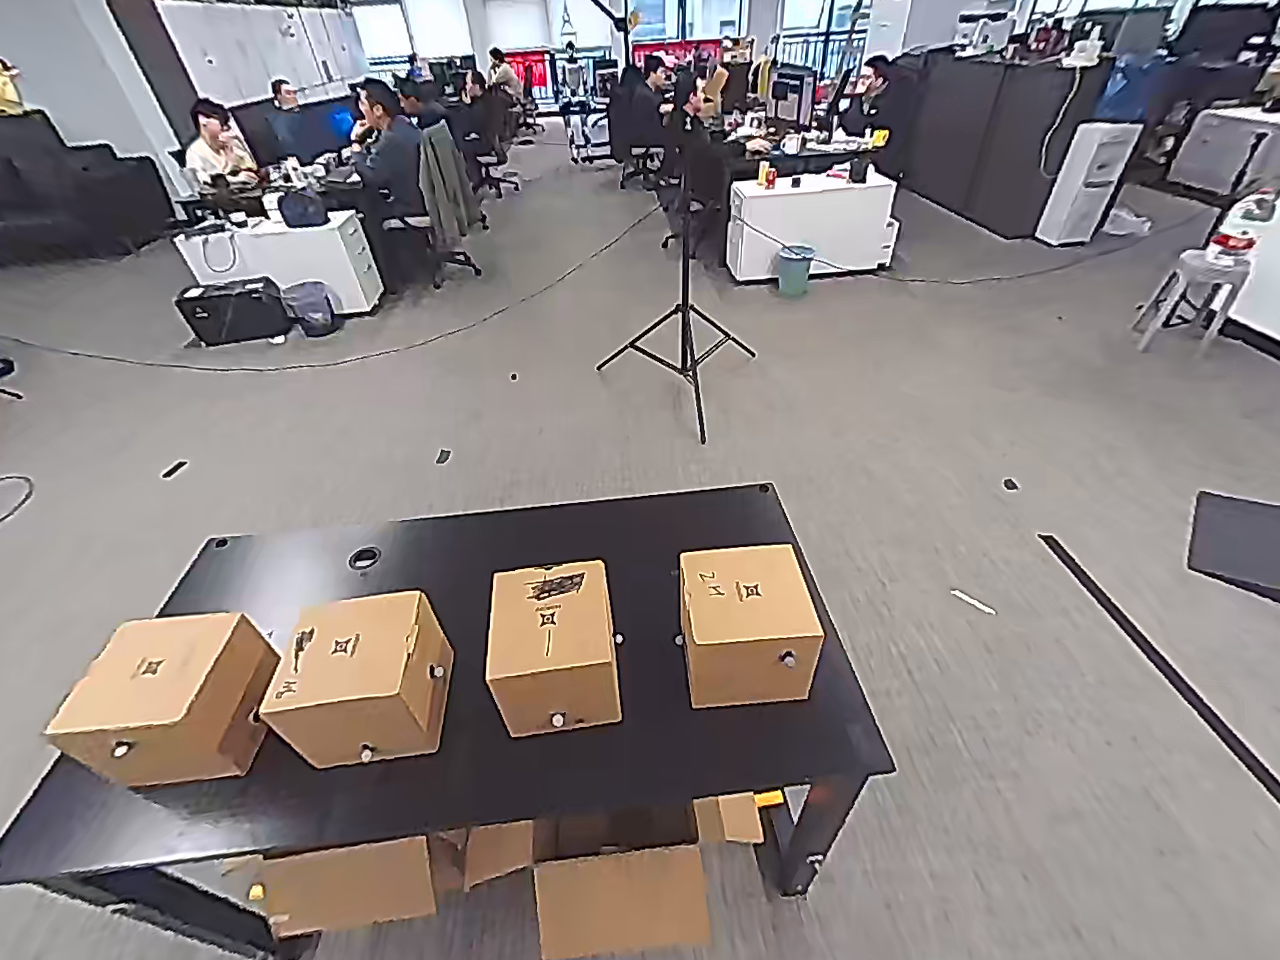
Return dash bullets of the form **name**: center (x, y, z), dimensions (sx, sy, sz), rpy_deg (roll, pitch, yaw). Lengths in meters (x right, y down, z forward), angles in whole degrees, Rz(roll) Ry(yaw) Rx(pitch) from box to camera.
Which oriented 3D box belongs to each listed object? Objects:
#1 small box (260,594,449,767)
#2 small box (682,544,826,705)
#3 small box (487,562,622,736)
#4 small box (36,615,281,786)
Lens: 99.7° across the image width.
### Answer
- **small box**: center (-0.388, 0.289, 0.780), dimensions (0.179, 0.176, 0.168), rpy_deg (-6, 40, -5)
- **small box**: center (0.158, 0.218, 0.816), dimensions (0.179, 0.176, 0.168), rpy_deg (-5, 39, 0)
- **small box**: center (-0.120, 0.249, 0.805), dimensions (0.168, 0.176, 0.179), rpy_deg (-7, 41, -4)
- **small box**: center (-0.650, 0.314, 0.768), dimensions (0.179, 0.176, 0.168), rpy_deg (-4, 41, -2)
